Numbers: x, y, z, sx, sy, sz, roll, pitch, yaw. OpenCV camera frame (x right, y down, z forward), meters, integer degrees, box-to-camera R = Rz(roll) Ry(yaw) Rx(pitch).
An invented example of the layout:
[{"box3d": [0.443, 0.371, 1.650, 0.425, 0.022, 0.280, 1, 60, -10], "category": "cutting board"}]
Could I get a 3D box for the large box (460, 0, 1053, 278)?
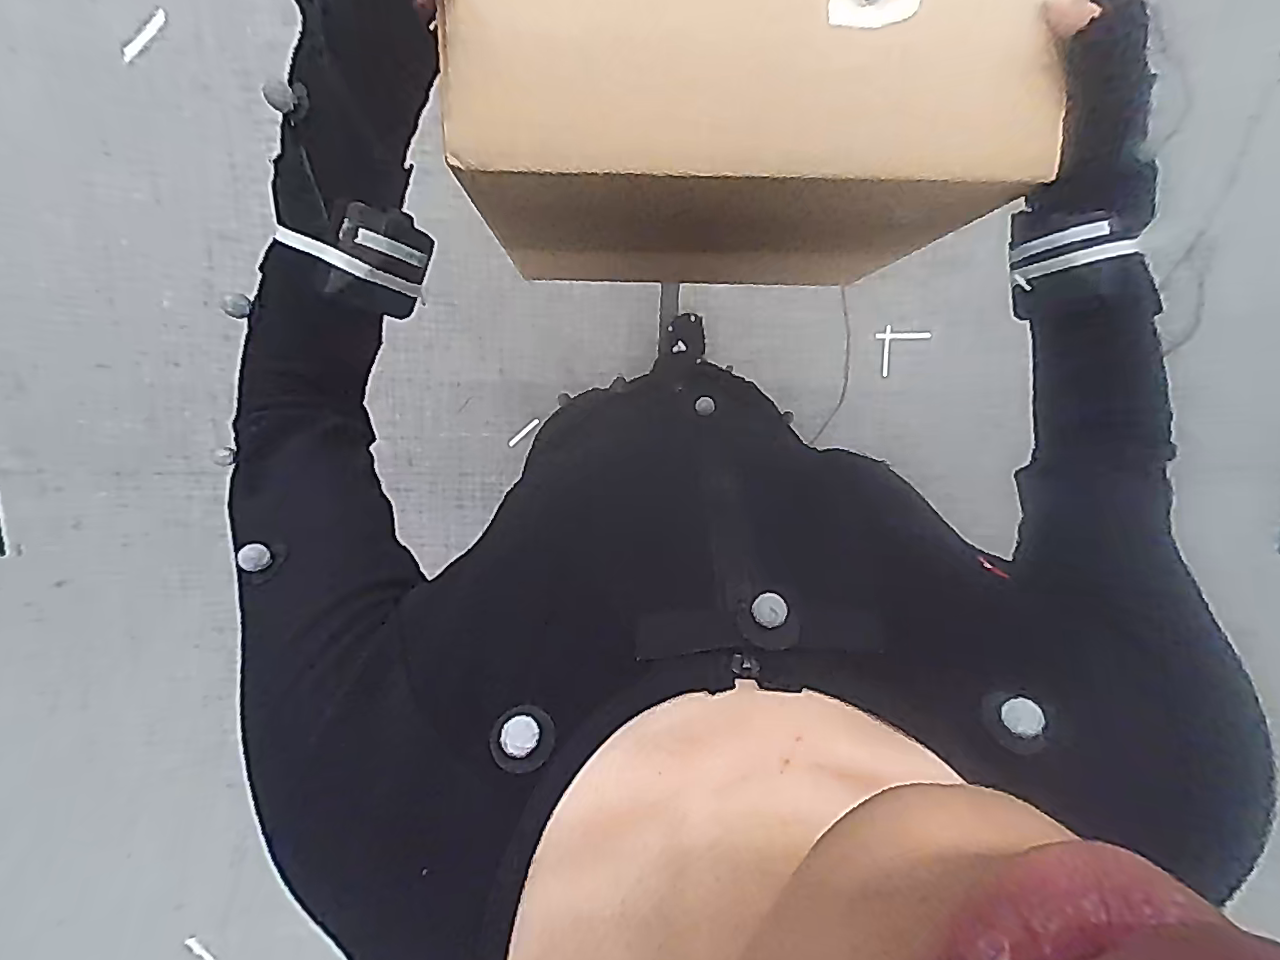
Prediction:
[{"box3d": [0.069, -0.384, 0.496, 0.408, 0.320, 0.320, -1, 98, -4], "category": "large box"}]
